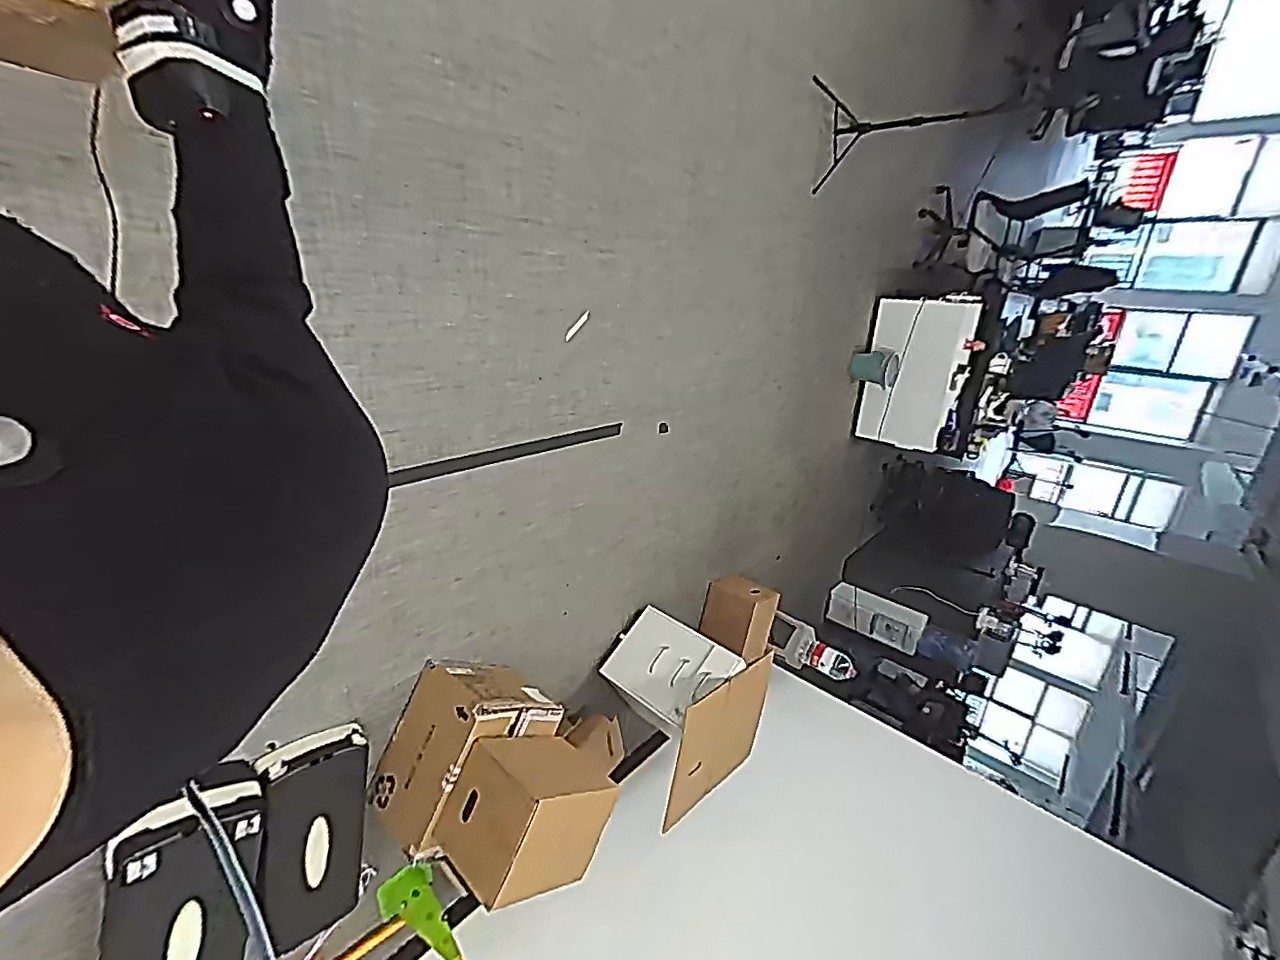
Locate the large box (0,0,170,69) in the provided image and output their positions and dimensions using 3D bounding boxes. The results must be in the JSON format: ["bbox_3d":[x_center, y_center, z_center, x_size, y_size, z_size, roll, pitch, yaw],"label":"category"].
[{"bbox_3d":[-0.563,-0.475,0.274,0.408,0.320,0.320,-18,123,-49],"label":"large box"}]
